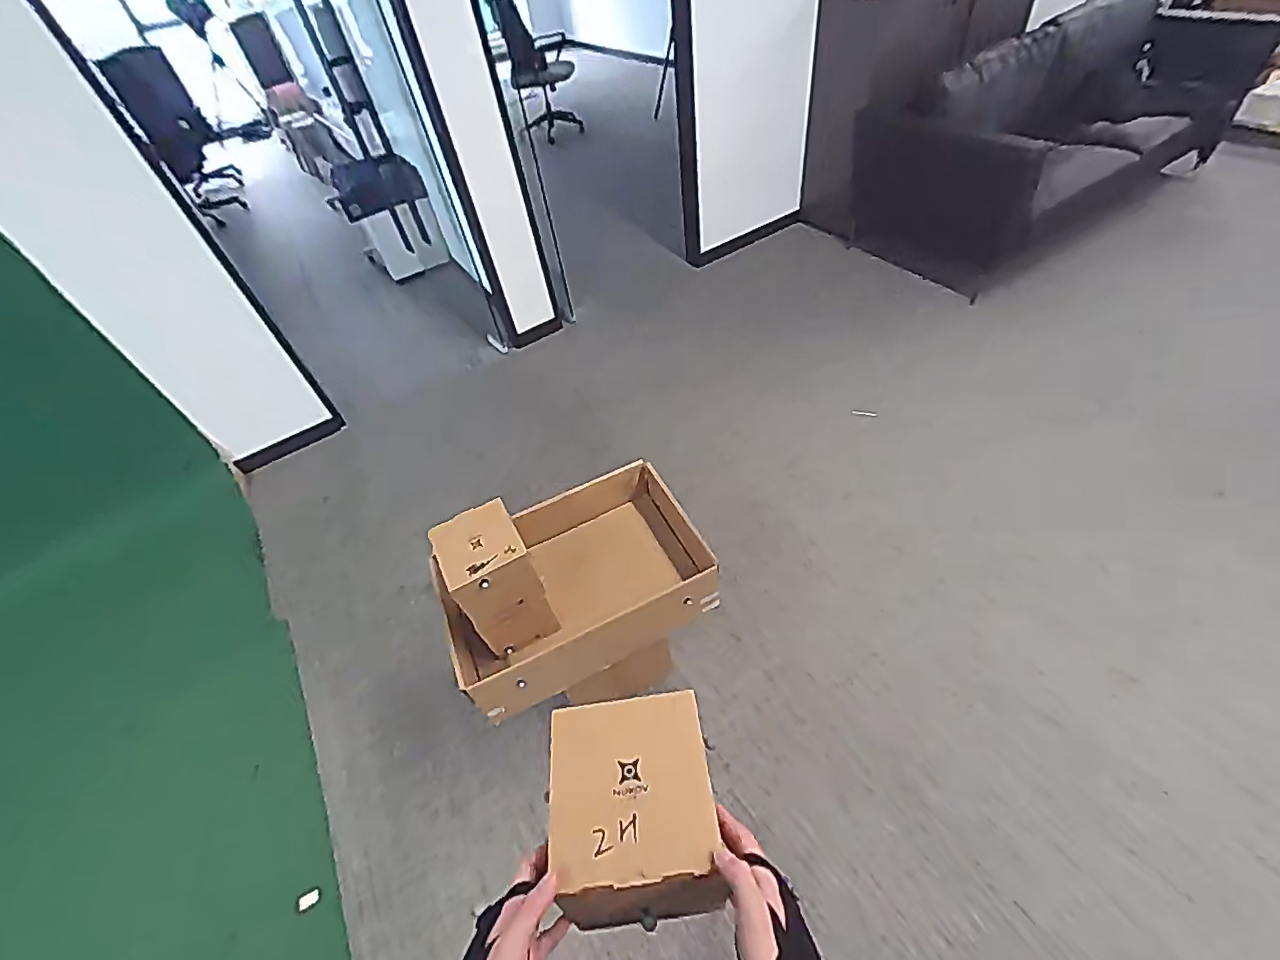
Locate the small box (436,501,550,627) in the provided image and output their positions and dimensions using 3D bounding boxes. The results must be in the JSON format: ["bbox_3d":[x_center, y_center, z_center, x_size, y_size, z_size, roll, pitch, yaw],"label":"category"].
[{"bbox_3d":[-0.317,0.186,1.179,0.168,0.176,0.179,-27,50,-12],"label":"small box"}]

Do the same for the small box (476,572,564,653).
[{"bbox_3d":[-0.299,0.292,1.303,0.168,0.176,0.179,-25,49,-11],"label":"small box"}]

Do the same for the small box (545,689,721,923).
[{"bbox_3d":[-0.005,0.369,0.615,0.168,0.176,0.179,-9,41,1],"label":"small box"}]
